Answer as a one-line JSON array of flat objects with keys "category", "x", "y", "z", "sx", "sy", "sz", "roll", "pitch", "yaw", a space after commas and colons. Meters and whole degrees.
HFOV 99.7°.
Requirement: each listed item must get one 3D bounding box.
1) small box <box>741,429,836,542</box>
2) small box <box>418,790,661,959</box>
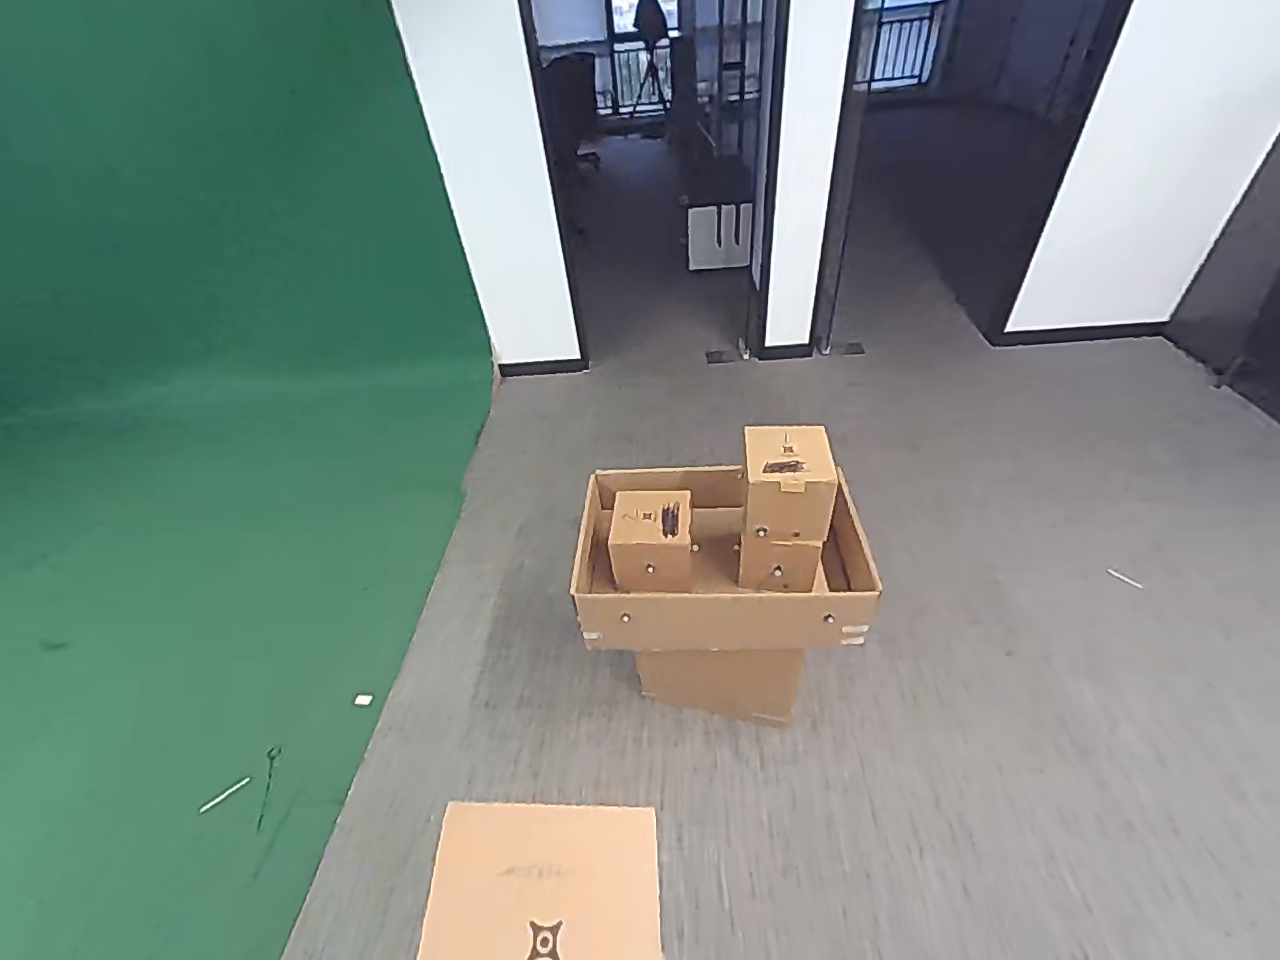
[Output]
[{"category": "small box", "x": 0.299, "y": 0.012, "z": 1.120, "sx": 0.168, "sy": 0.176, "sz": 0.179, "roll": 1, "pitch": 41, "yaw": 7}, {"category": "small box", "x": -0.083, "y": 0.368, "z": 0.428, "sx": 0.168, "sy": 0.176, "sz": 0.179, "roll": 9, "pitch": 45, "yaw": -10}]
